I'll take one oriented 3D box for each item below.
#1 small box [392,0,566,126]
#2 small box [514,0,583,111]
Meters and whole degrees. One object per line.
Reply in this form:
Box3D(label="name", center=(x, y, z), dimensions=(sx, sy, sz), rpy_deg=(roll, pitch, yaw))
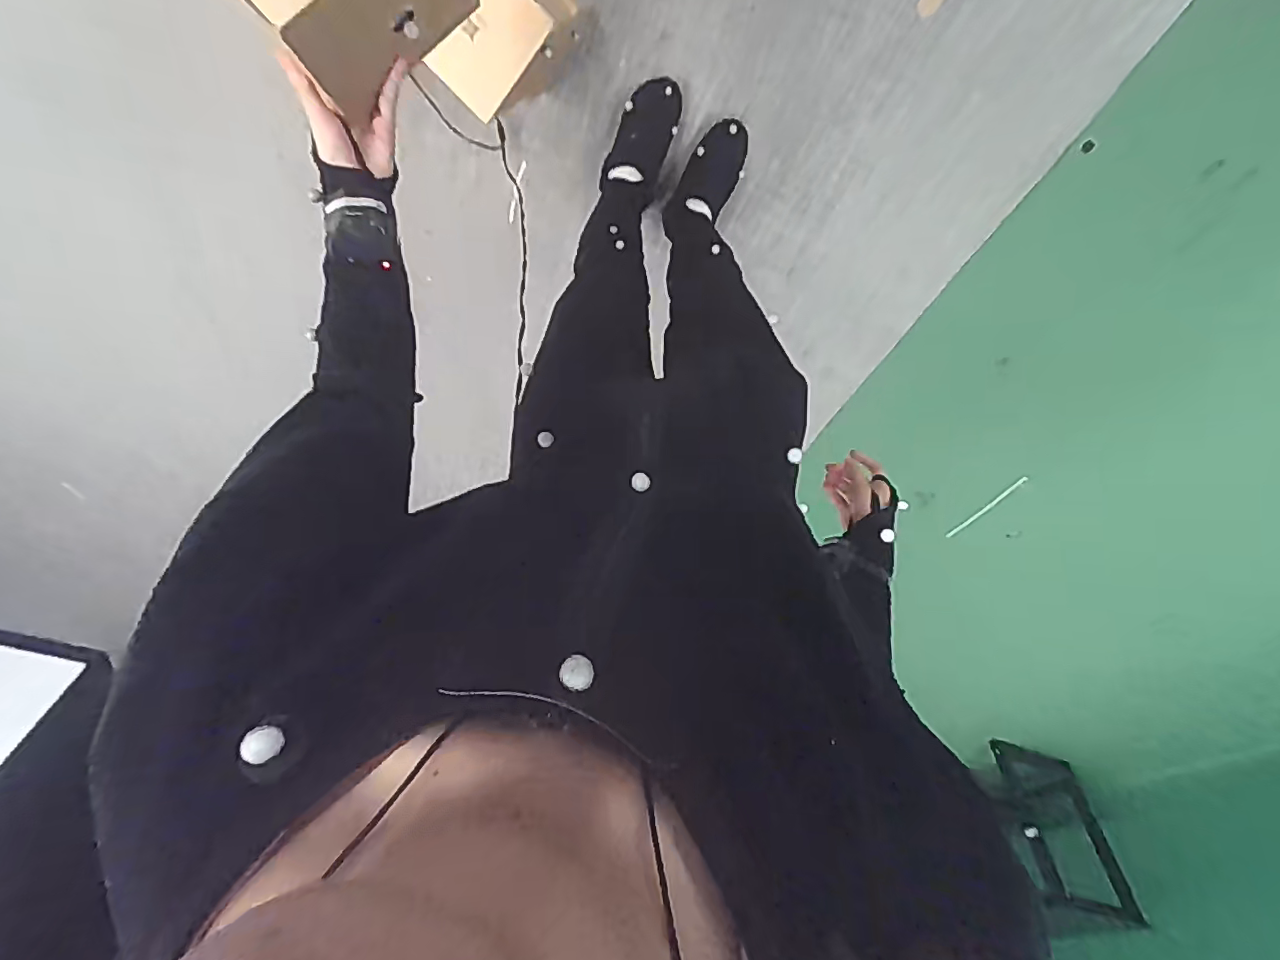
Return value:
Box3D(label="small box", center=(-0.232, -0.685, 0.818), dimensions=(0.179, 0.176, 0.168), rpy_deg=(-35, 121, 31))
Box3D(label="small box", center=(-0.213, -0.793, 0.937), dimensions=(0.168, 0.176, 0.179), rpy_deg=(33, 128, -23))
